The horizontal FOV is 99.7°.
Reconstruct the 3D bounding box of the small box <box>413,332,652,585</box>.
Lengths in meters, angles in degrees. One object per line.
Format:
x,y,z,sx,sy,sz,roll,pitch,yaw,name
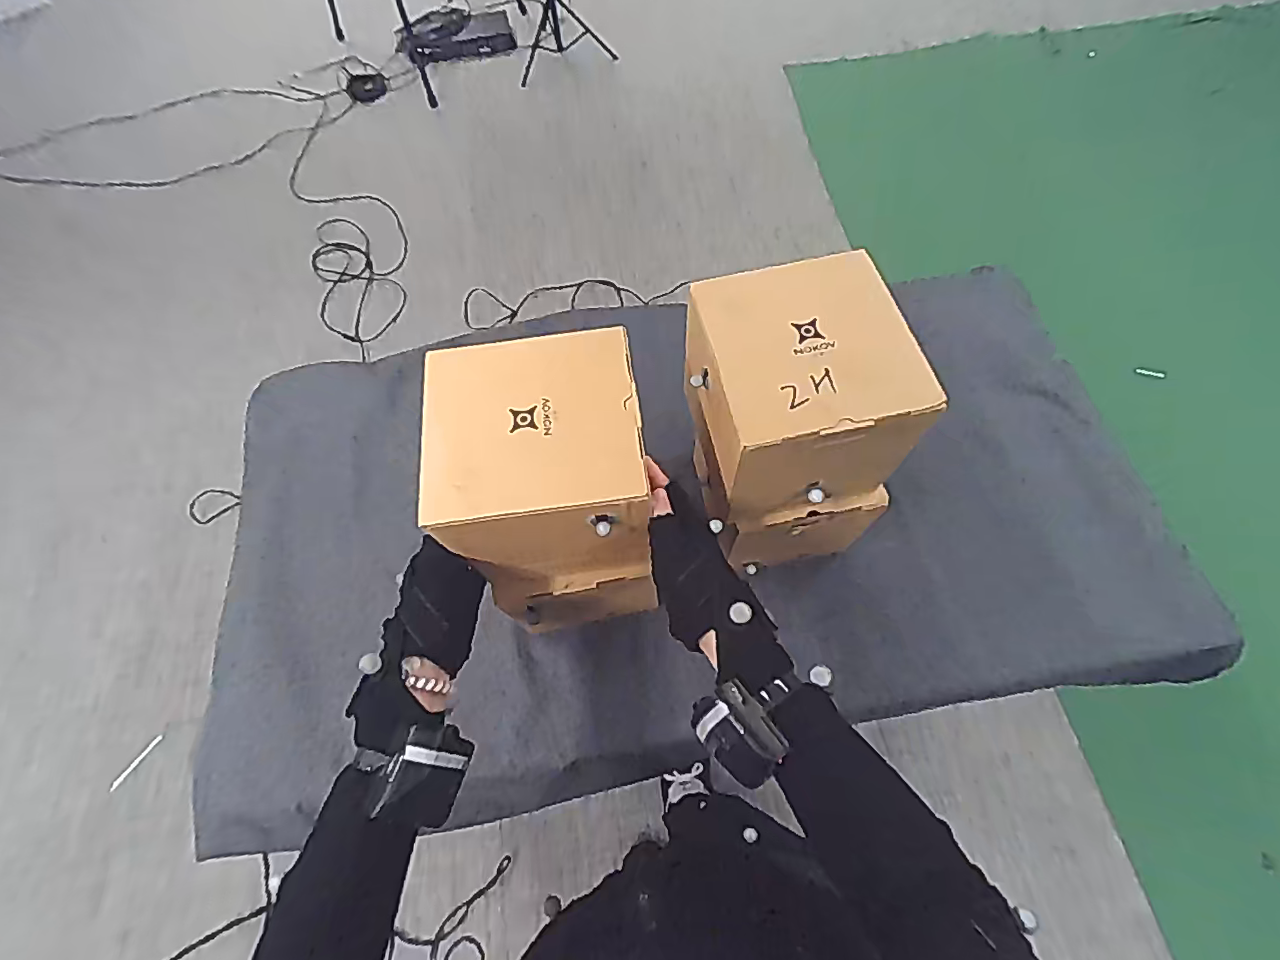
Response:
-0.087,-0.009,0.505,0.179,0.176,0.168,-8,64,-1,small box

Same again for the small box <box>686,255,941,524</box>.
0.142,-0.078,0.523,0.168,0.176,0.179,-13,66,-1,small box

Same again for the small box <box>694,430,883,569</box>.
0.165,0.001,0.666,0.168,0.176,0.179,-10,65,-2,small box
